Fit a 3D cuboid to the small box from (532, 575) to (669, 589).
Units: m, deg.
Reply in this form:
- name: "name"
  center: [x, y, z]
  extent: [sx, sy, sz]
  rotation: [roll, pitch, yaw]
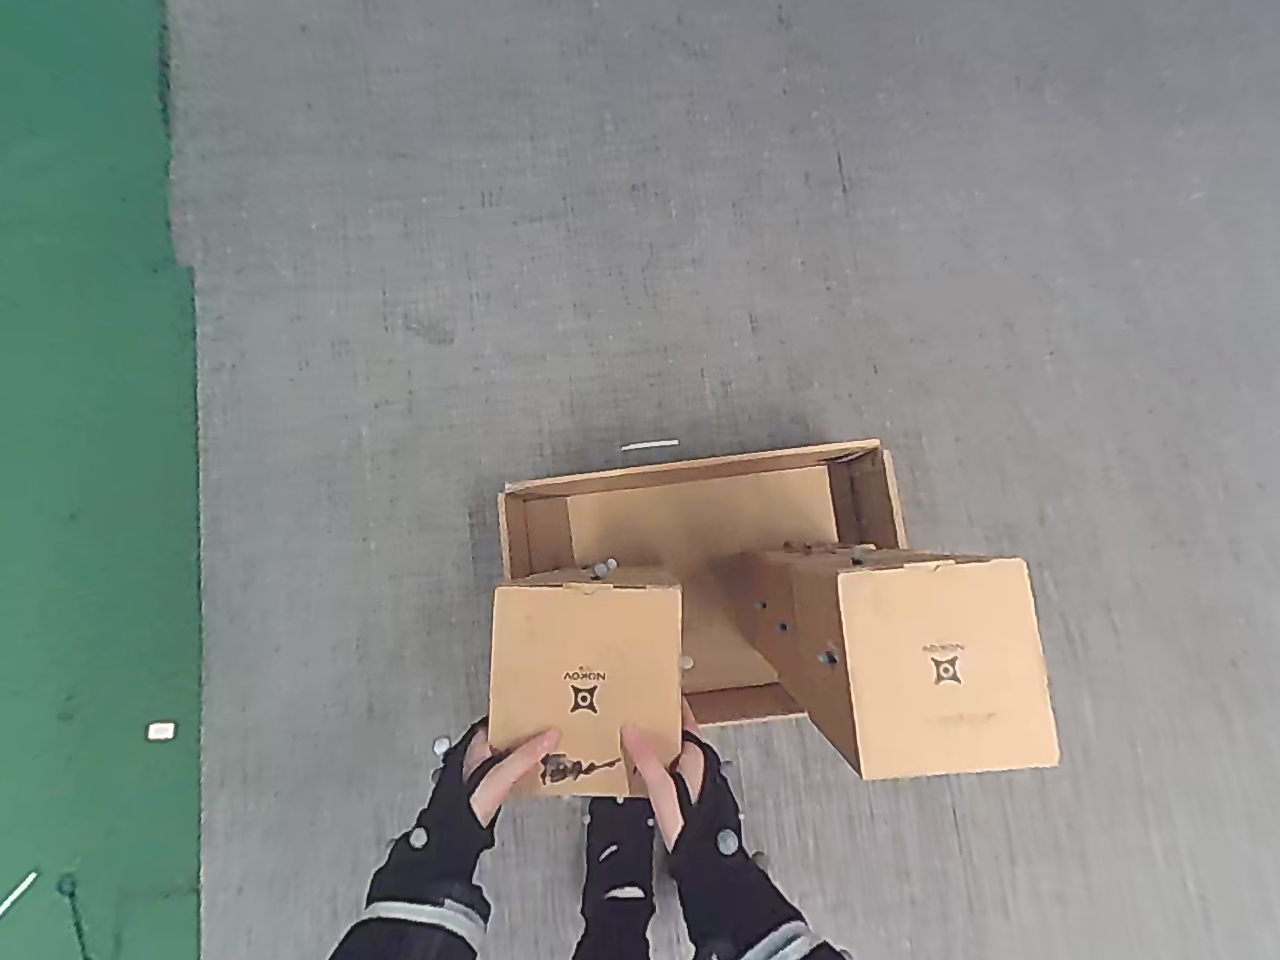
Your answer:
- name: "small box"
  center: [-0.044, 0.216, 0.705]
  extent: [0.168, 0.176, 0.179]
  rotation: [-1, 81, 1]

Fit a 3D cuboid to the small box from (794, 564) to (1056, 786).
- name: "small box"
  center: [0.260, 0.177, 0.540]
  extent: [0.168, 0.176, 0.179]
  rotation: [-4, 82, 2]

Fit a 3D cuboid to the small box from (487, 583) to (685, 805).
- name: "small box"
  center: [-0.042, 0.195, 0.542]
  extent: [0.168, 0.176, 0.179]
  rotation: [1, 81, 3]
